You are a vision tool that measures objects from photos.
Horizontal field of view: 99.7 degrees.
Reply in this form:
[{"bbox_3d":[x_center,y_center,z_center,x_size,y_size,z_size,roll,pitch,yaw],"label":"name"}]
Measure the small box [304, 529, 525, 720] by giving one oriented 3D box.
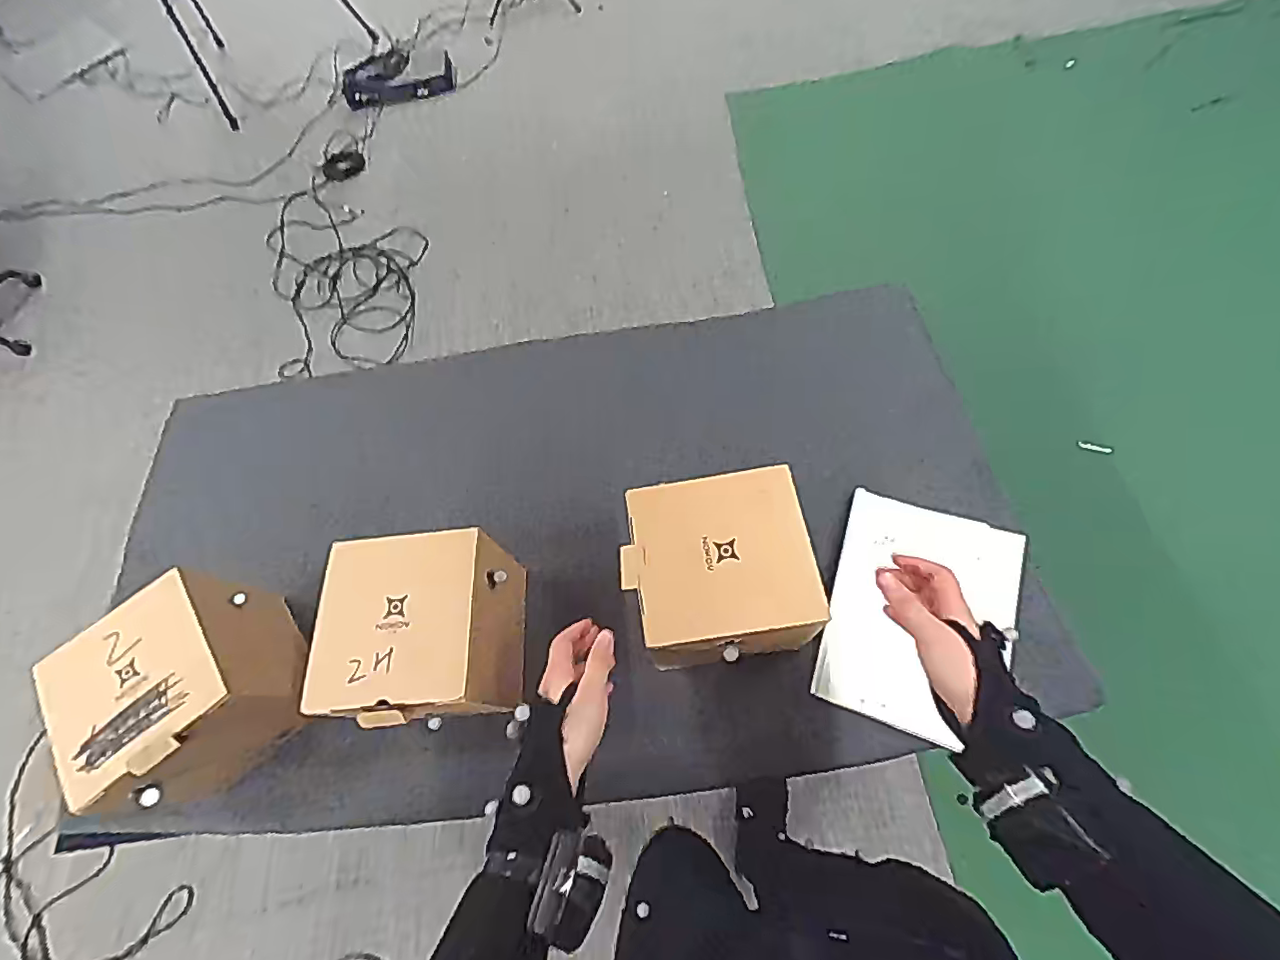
[{"bbox_3d":[-0.238,0.172,0.619,0.168,0.176,0.179,-7,64,5],"label":"small box"}]
